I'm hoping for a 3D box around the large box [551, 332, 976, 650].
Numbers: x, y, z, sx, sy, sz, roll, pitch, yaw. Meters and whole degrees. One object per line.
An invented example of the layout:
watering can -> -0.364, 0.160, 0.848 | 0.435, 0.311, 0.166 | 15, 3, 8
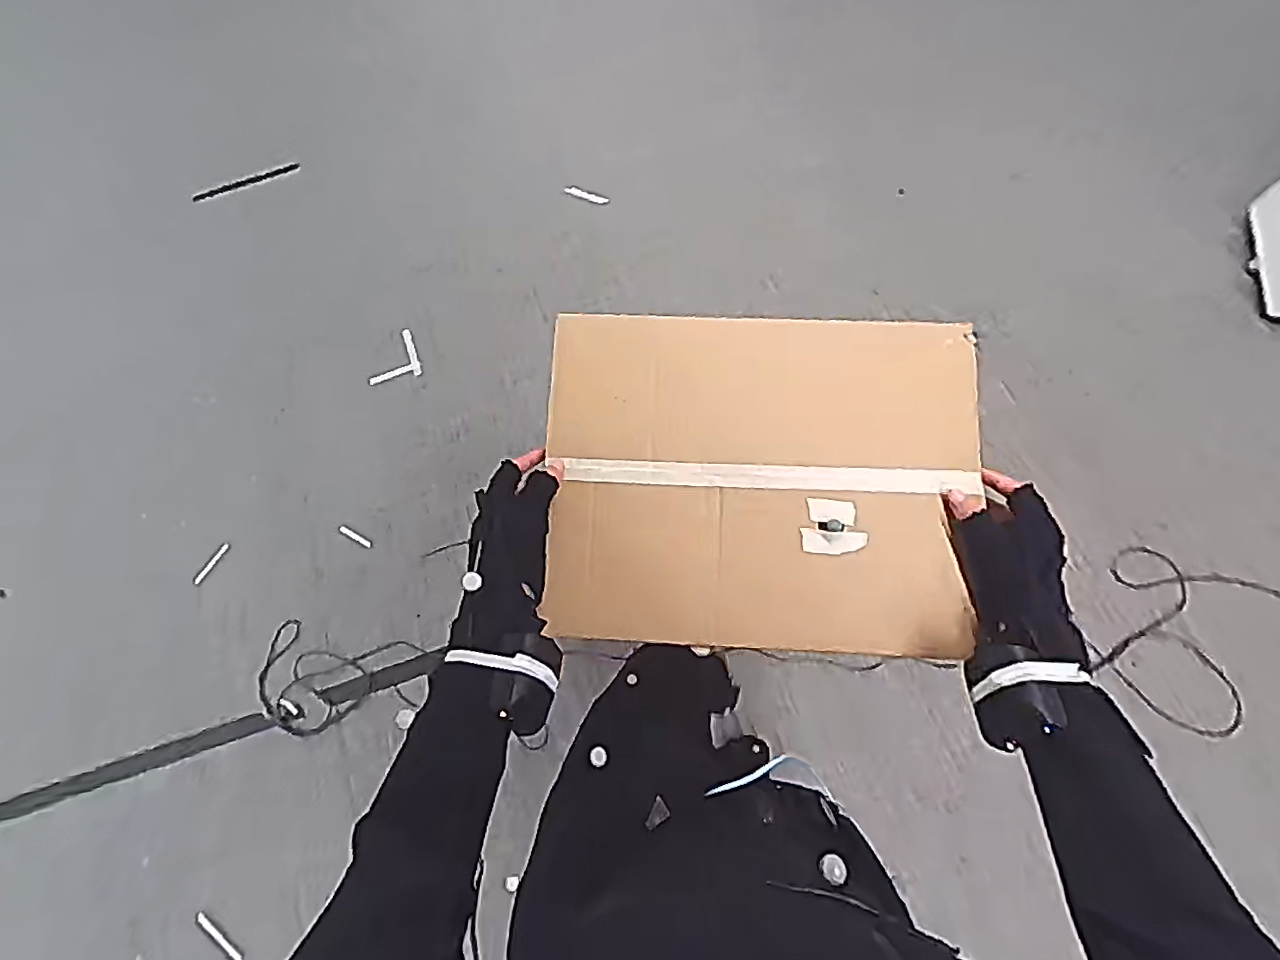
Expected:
large box -> 0.120, 0.025, 0.673 | 0.408, 0.320, 0.320 | 2, 82, 3
